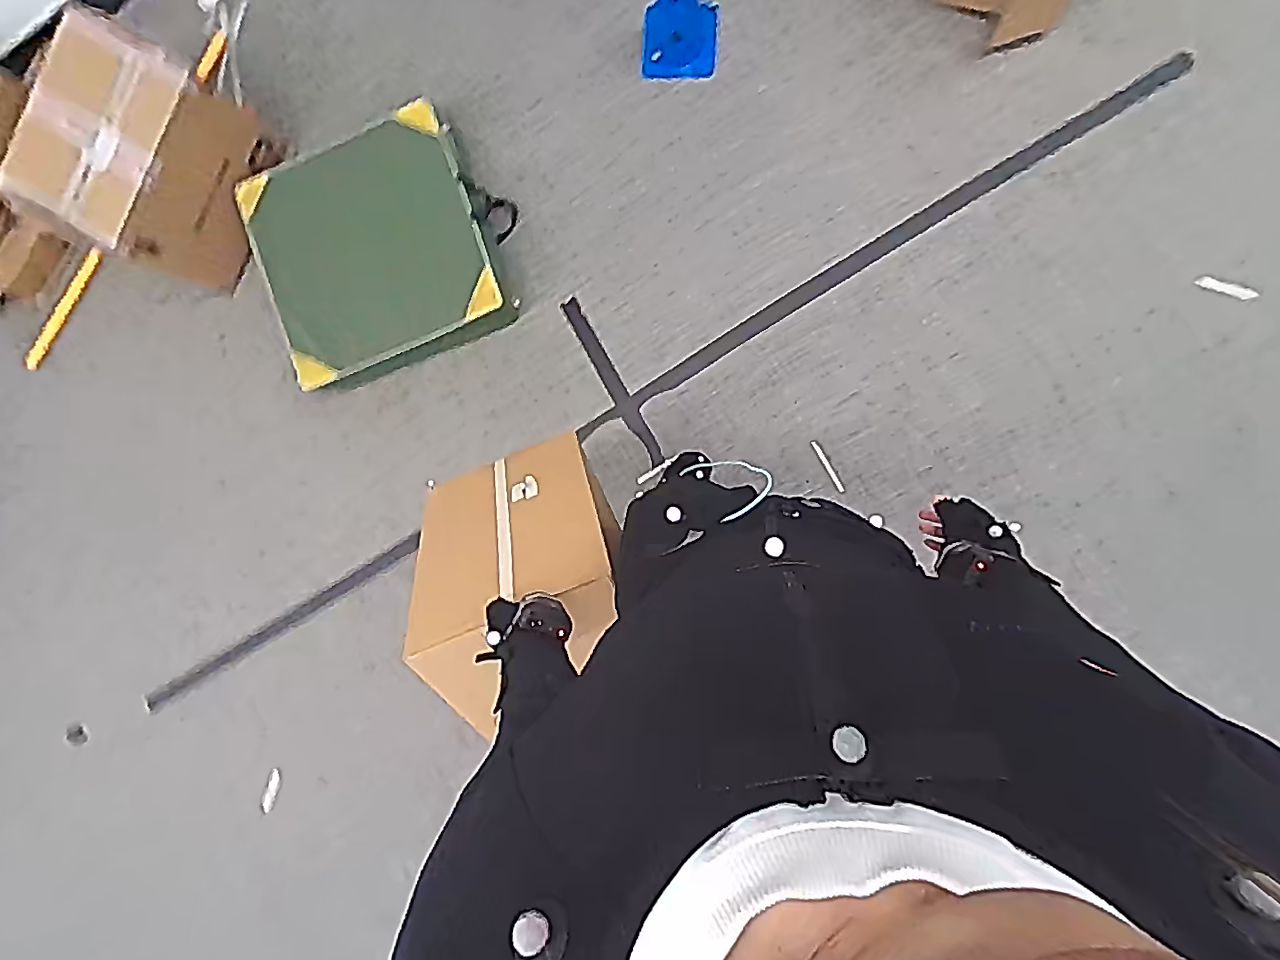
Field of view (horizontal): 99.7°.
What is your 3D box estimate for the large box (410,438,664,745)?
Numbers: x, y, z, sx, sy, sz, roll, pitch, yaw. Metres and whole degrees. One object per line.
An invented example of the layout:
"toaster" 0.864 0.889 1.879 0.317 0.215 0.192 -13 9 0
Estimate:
"large box" -0.182 0.190 1.006 0.320 0.408 0.320 -20 126 0
